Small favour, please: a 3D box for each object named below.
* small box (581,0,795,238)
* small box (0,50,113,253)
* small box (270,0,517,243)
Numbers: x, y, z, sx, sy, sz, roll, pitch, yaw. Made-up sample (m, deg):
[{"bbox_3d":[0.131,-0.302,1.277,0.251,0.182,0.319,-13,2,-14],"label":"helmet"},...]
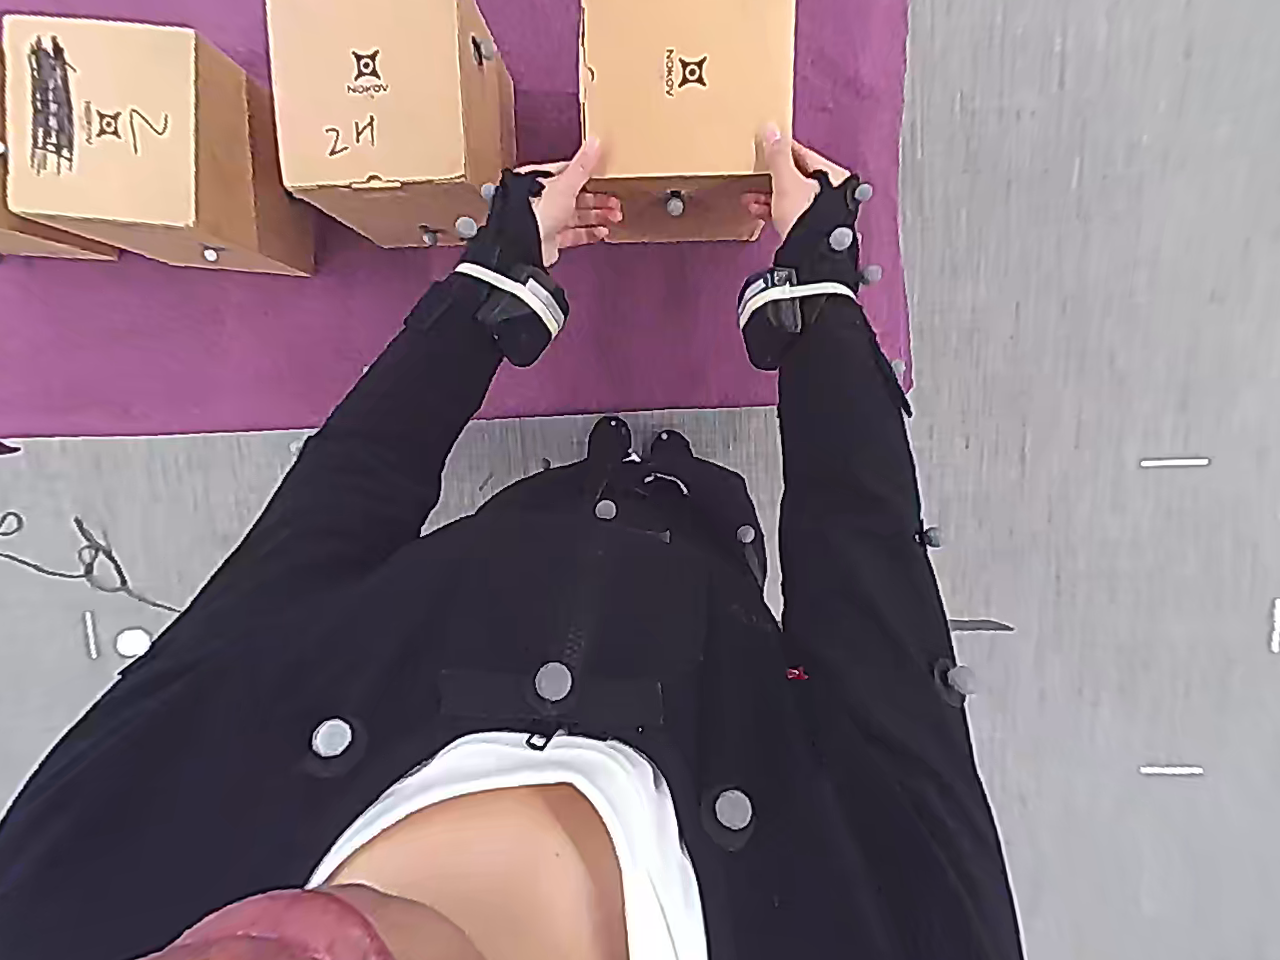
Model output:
[{"bbox_3d":[0.042,-0.346,0.524,0.179,0.176,0.168,0,96,4],"label":"small box"},{"bbox_3d":[-0.703,-0.348,0.560,0.168,0.176,0.179,4,97,2],"label":"small box"},{"bbox_3d":[-0.226,-0.354,0.536,0.168,0.176,0.179,-1,96,3],"label":"small box"}]
